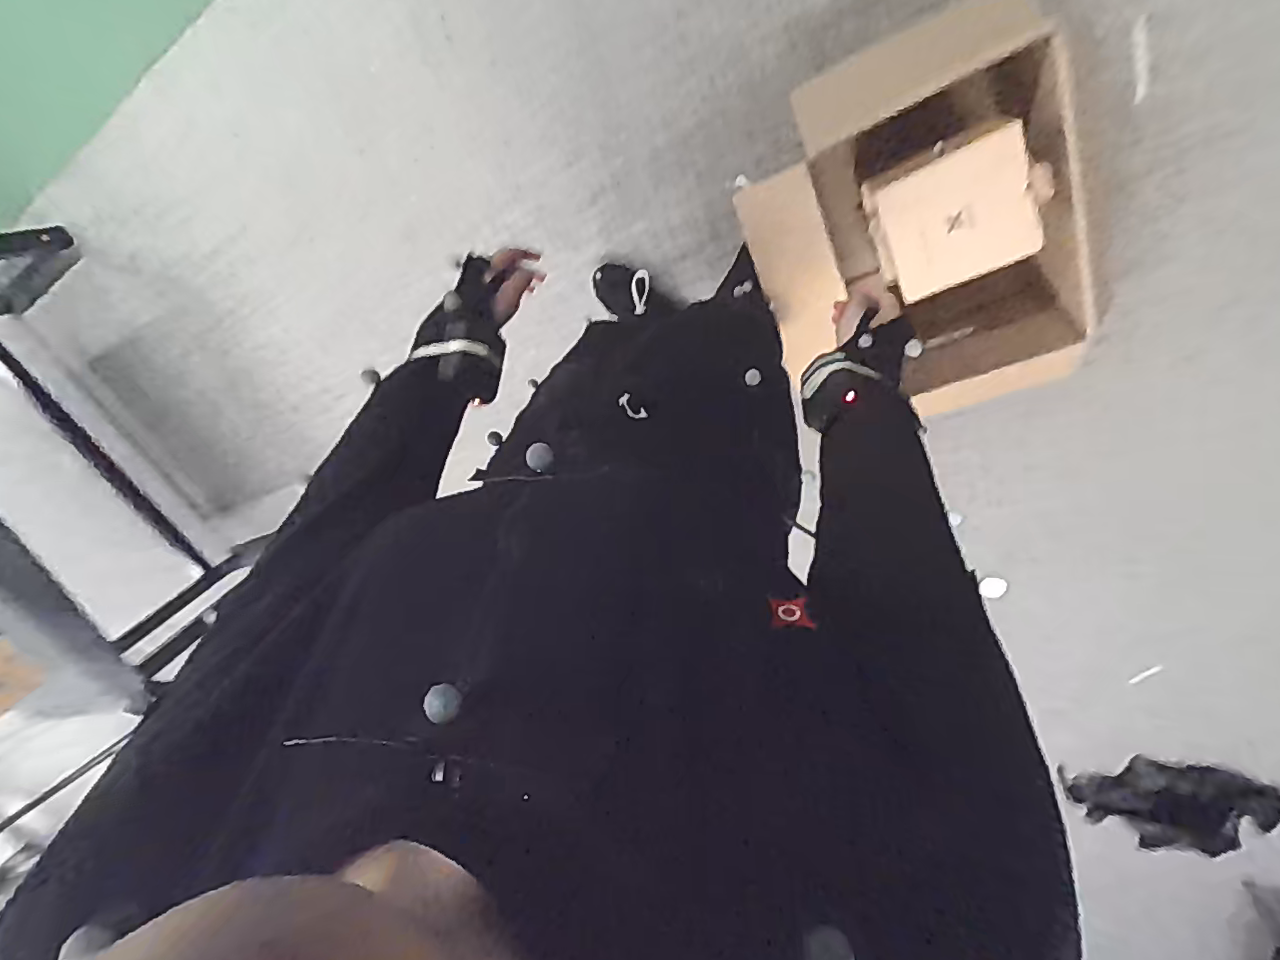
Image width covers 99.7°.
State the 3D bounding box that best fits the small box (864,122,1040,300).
[{"bbox_3d":[0.445,-0.396,0.792,0.179,0.176,0.168,-18,116,28],"label":"small box"}]

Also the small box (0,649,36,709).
[{"bbox_3d":[-1.701,0.523,1.358,0.179,0.176,0.168,-16,115,26],"label":"small box"}]
